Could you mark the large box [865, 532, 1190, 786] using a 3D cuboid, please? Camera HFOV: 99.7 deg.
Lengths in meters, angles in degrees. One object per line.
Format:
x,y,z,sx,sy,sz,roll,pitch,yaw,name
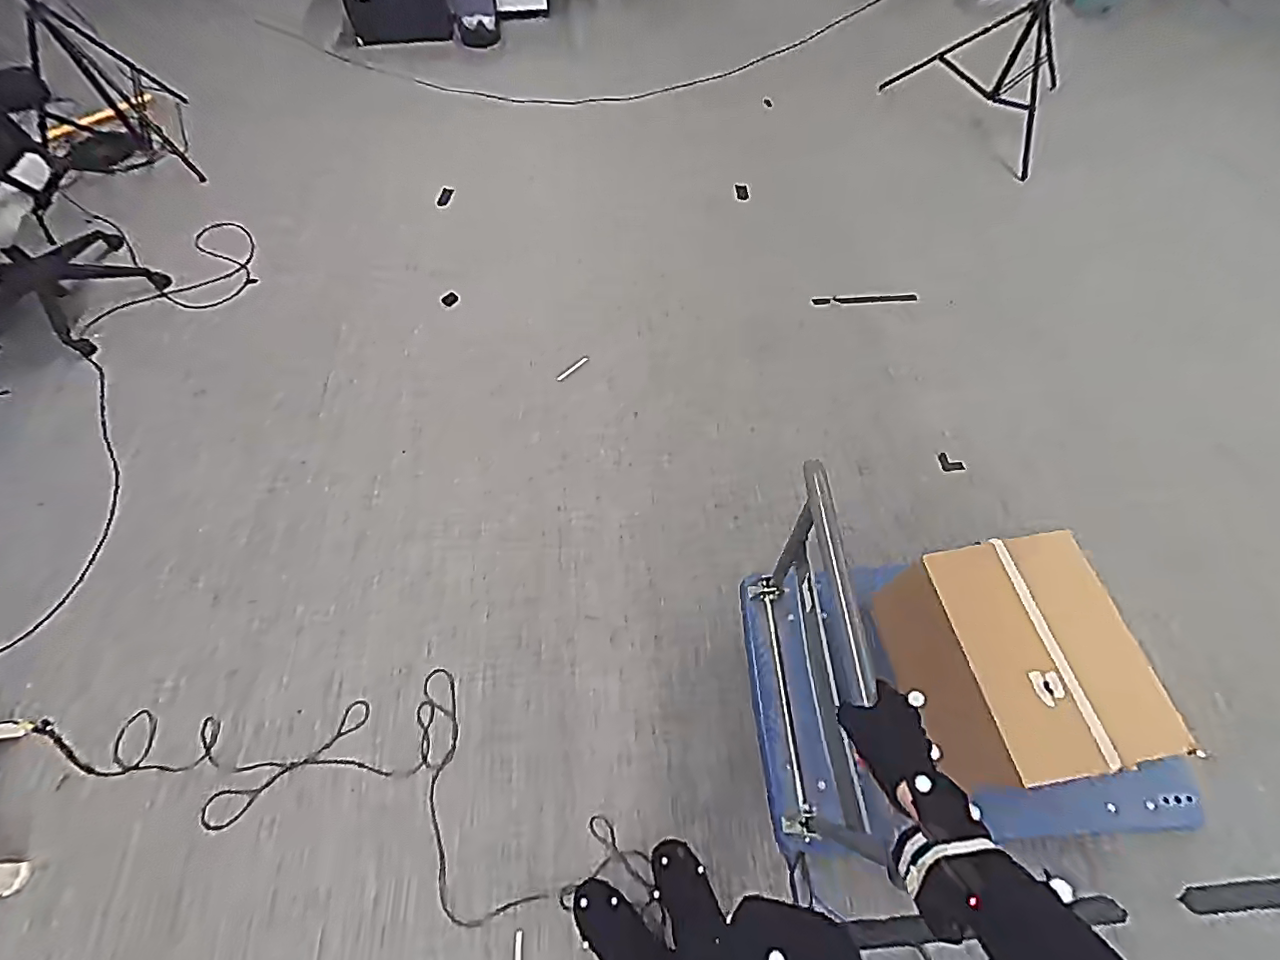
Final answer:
0.727,0.366,1.104,0.320,0.320,0.408,-10,62,-4,large box
